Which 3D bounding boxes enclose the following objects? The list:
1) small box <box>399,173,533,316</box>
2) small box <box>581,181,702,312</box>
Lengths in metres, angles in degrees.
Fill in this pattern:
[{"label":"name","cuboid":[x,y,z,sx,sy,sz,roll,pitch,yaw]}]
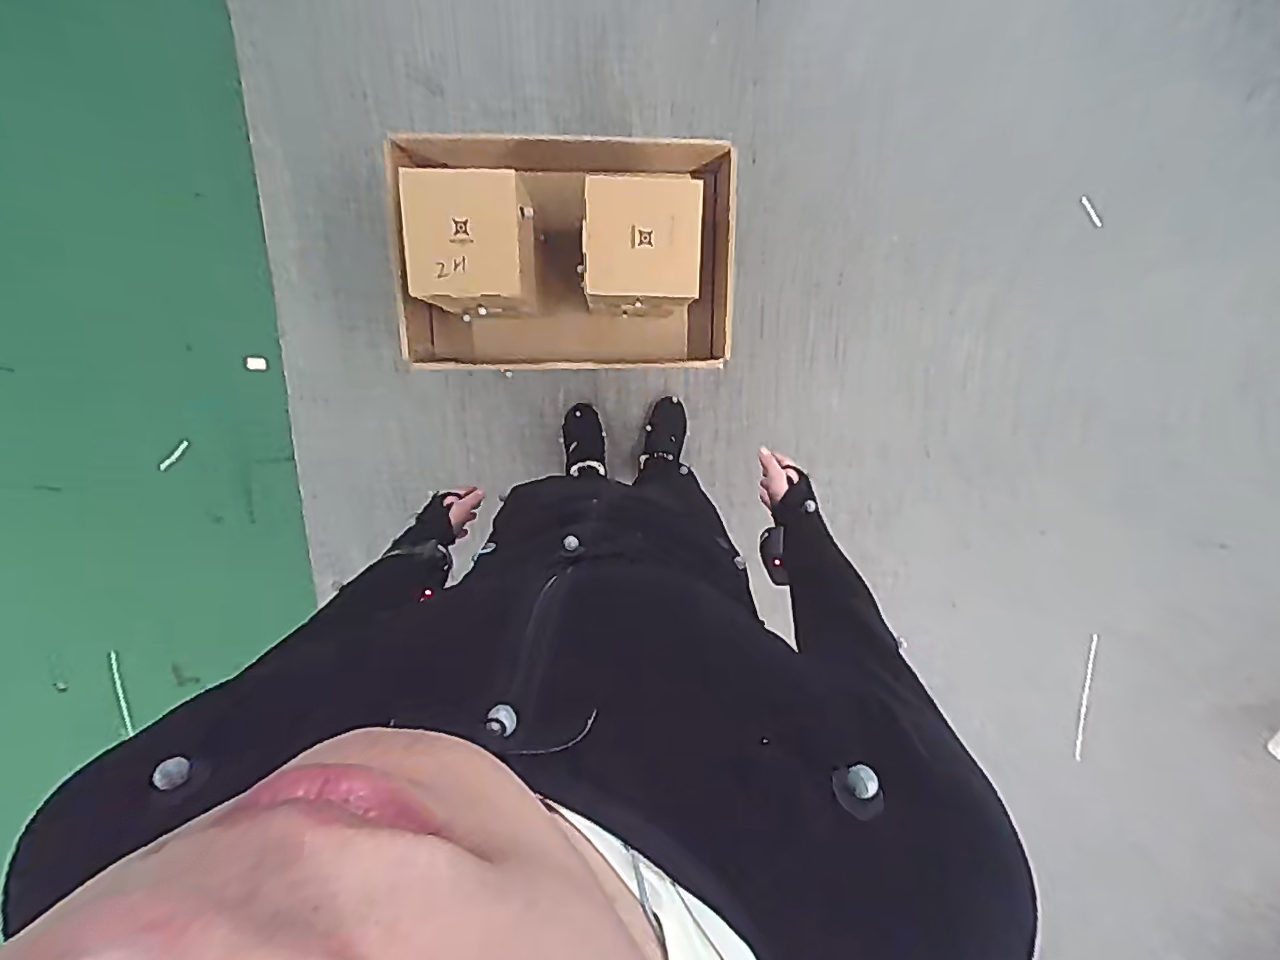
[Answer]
[{"label":"small box","cuboid":[-0.265,-0.362,0.857,0.168,0.176,0.179,-1,101,-3]},{"label":"small box","cuboid":[-0.003,-0.366,0.876,0.179,0.176,0.168,0,103,-5]}]
